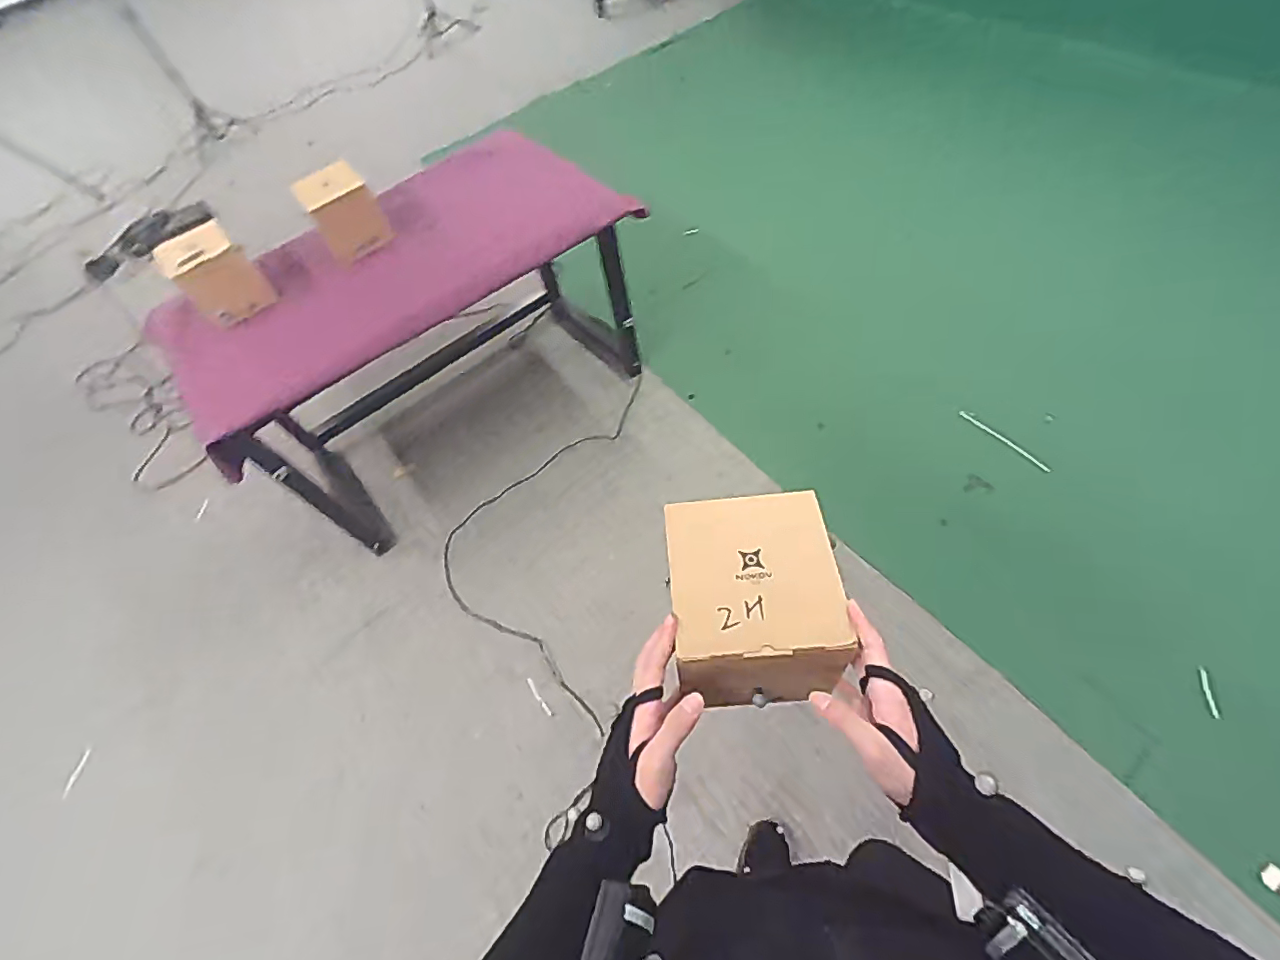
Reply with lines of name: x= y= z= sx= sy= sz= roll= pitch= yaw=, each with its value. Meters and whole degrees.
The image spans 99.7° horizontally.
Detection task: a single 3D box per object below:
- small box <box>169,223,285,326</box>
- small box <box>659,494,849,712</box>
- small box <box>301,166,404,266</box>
small box: x=-1.086 y=-0.537 z=1.434 sx=0.168 sy=0.176 sz=0.179 roll=-36 pitch=60 yaw=-14
small box: x=0.112 y=0.139 z=0.601 sx=0.168 sy=0.176 sz=0.179 roll=-7 pitch=52 yaw=4
small box: x=-0.801 y=-0.737 z=1.517 sx=0.168 sy=0.176 sz=0.179 roll=-35 pitch=61 yaw=-13
